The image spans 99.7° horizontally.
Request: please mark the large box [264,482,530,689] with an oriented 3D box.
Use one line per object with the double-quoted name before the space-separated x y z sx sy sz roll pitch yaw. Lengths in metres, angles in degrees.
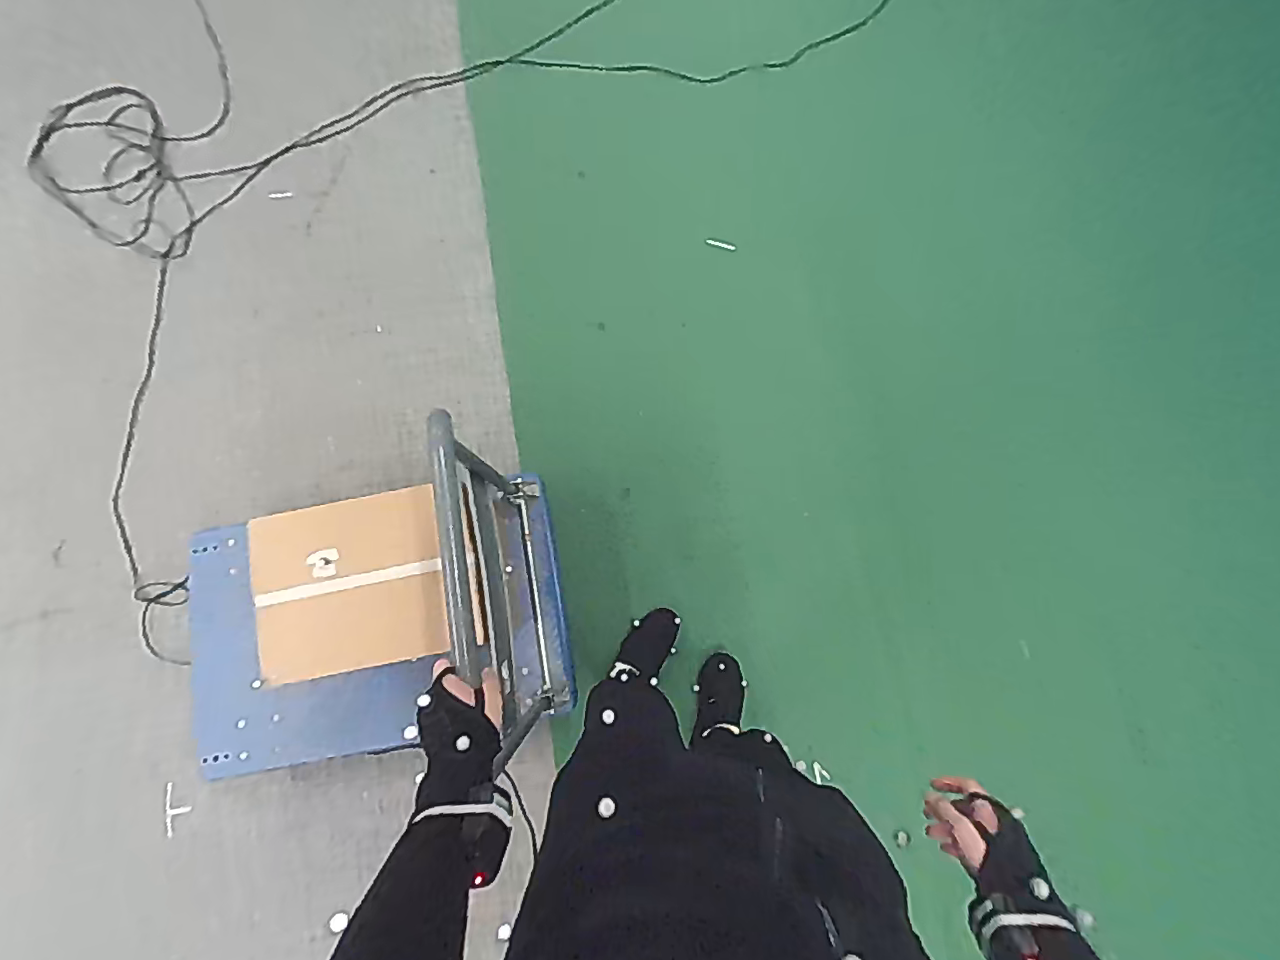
"large box" -0.482 0.213 1.143 0.408 0.320 0.320 -11 80 -1
